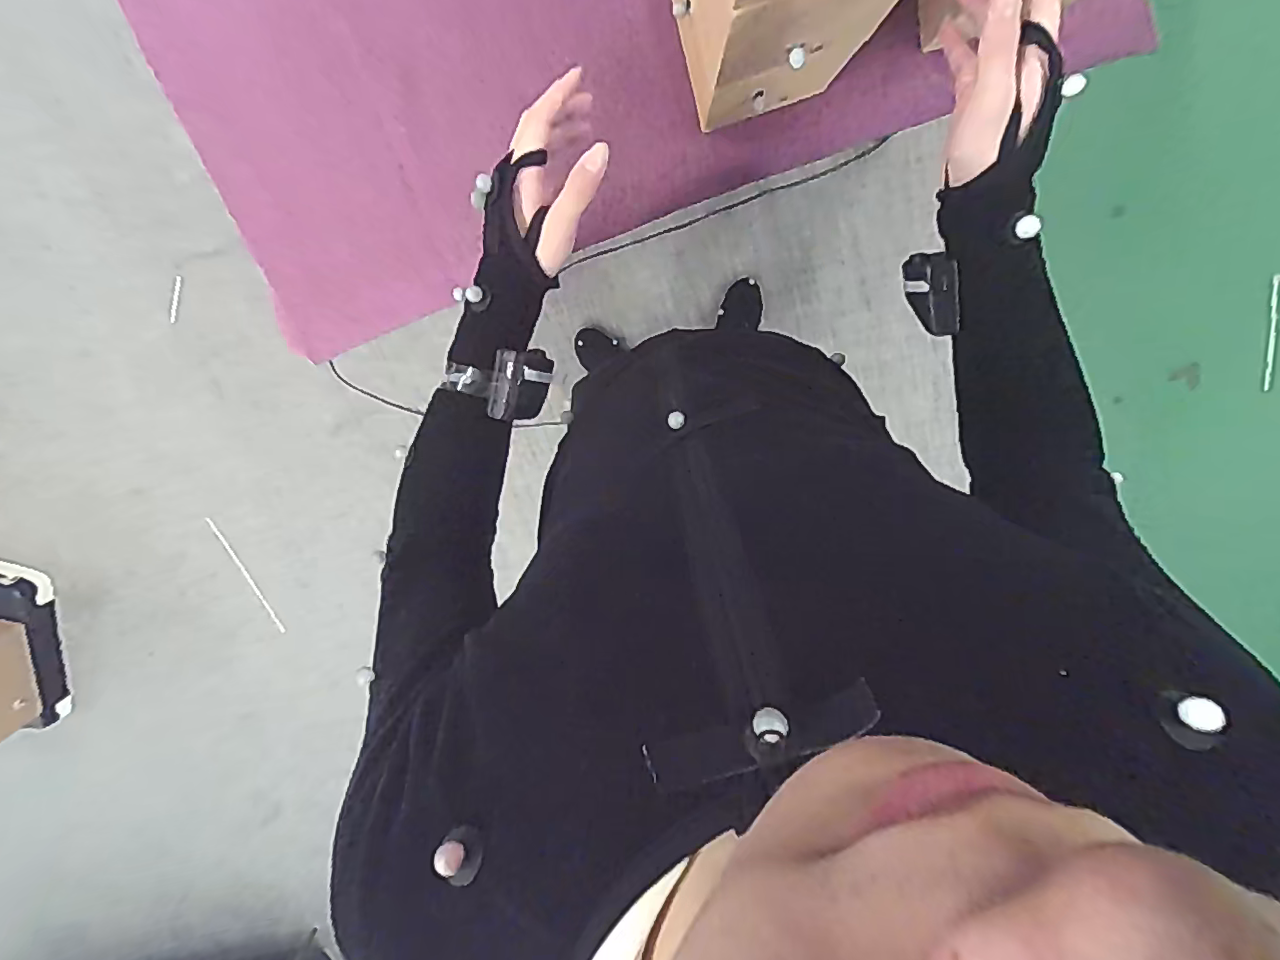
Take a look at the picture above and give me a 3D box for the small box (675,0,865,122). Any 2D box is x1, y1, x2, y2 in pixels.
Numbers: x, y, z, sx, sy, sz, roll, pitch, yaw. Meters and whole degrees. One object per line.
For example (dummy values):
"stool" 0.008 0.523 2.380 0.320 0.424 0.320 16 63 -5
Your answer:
"small box" 0.134 -0.535 0.609 0.168 0.176 0.179 -15 107 9

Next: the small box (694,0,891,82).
"small box" 0.125 -0.482 0.454 0.168 0.176 0.179 -13 109 8
